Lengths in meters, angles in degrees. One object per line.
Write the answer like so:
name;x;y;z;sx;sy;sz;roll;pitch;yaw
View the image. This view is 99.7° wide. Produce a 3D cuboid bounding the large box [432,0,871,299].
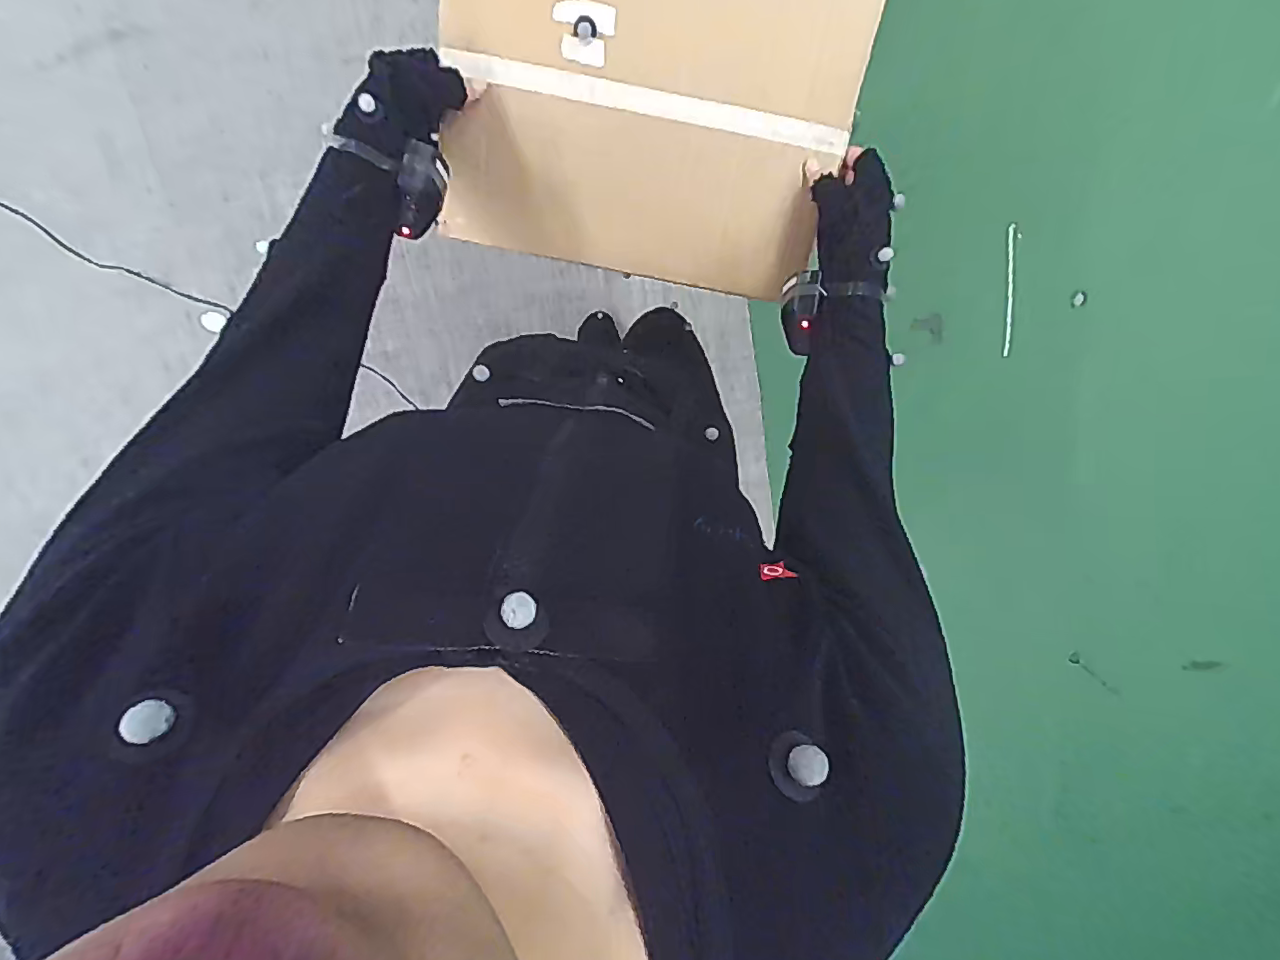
large box;0.003;-0.435;0.663;0.408;0.320;0.320;11;115;-2
